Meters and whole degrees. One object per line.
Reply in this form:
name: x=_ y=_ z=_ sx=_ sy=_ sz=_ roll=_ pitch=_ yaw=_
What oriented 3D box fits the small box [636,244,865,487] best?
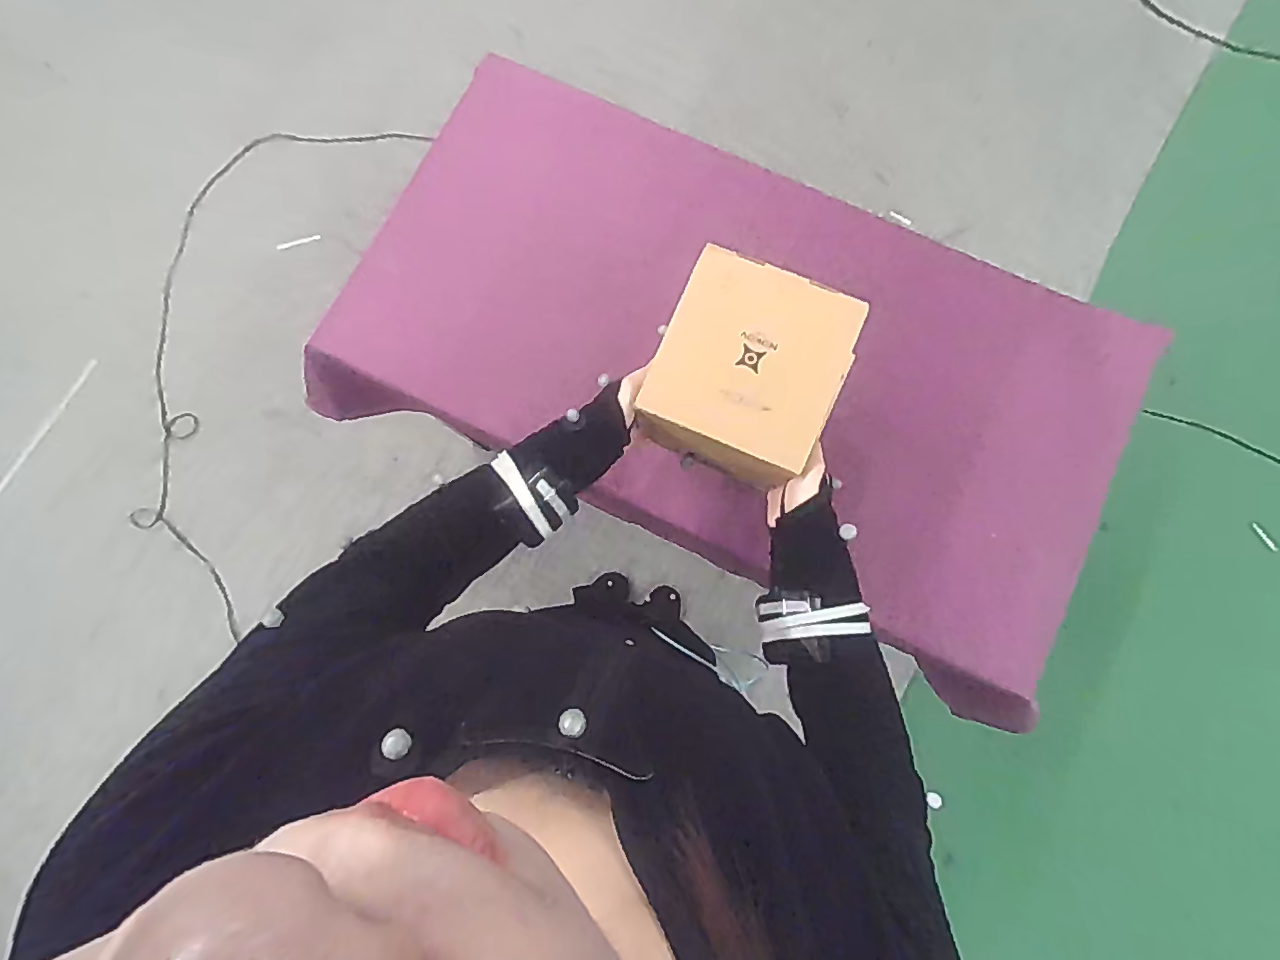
small box: x=0.105 y=-0.107 z=0.579 sx=0.168 sy=0.176 sz=0.179 roll=24 pitch=86 yaw=5
